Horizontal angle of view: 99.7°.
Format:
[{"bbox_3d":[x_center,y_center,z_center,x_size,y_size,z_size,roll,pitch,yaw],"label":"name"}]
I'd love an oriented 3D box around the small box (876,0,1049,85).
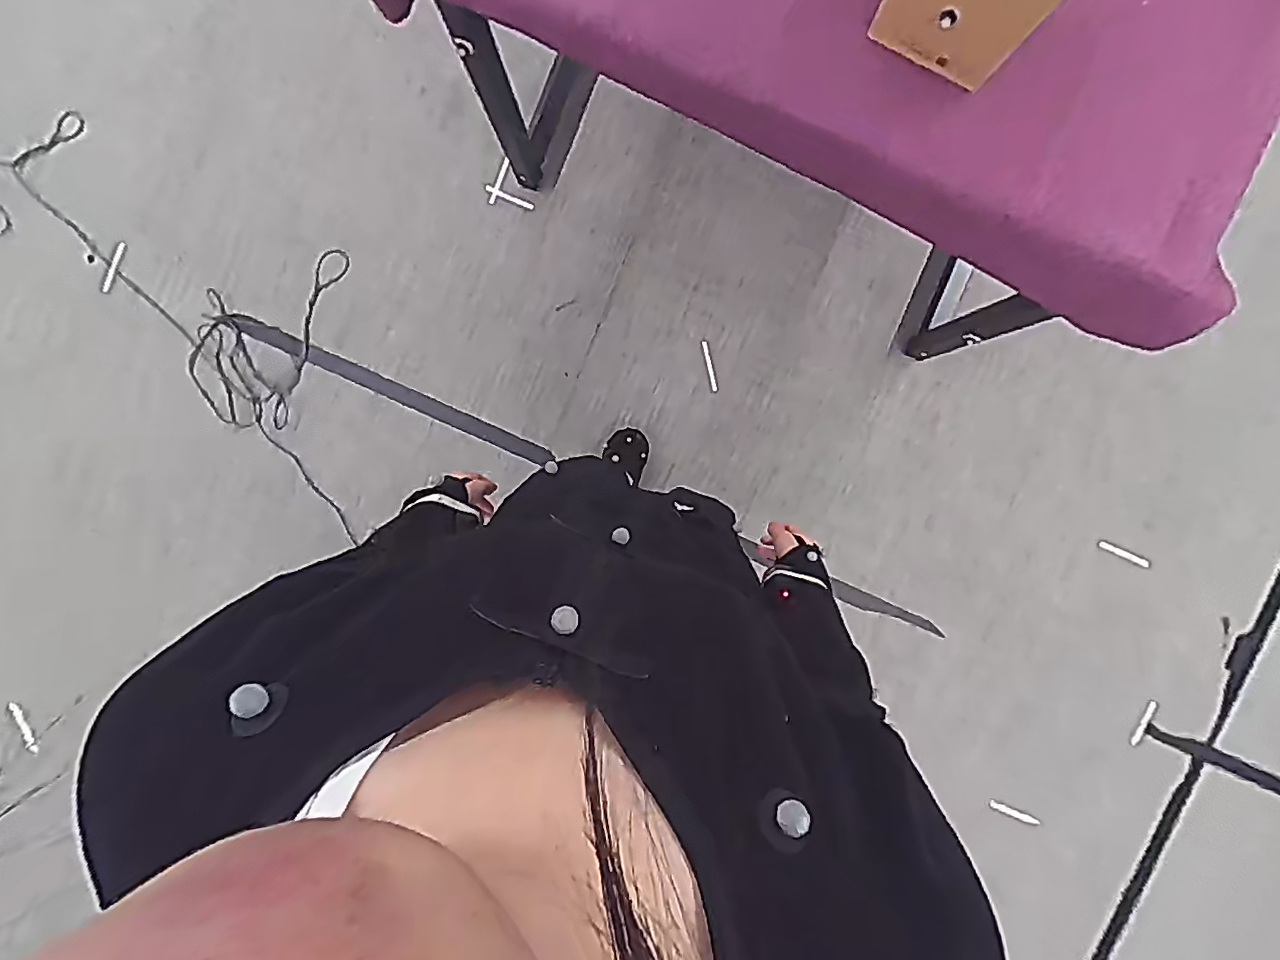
[{"bbox_3d":[0.413,-0.632,0.645,0.168,0.176,0.179,26,93,-2],"label":"small box"}]
